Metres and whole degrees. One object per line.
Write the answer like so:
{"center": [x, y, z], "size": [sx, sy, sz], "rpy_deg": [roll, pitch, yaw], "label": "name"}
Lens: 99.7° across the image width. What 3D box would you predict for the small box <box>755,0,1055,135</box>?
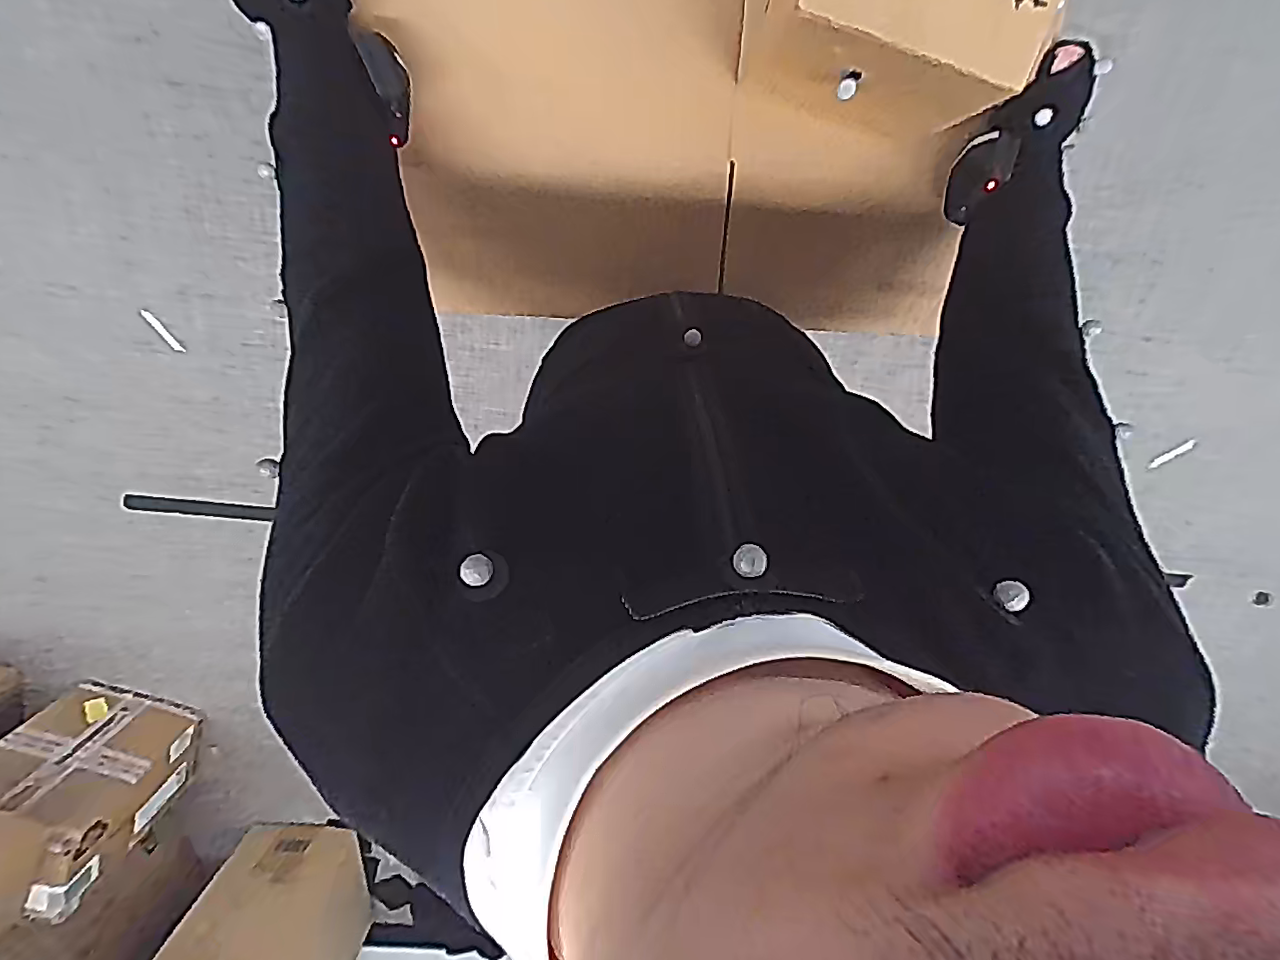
{"center": [0.207, -0.402, 0.426], "size": [0.179, 0.176, 0.168], "rpy_deg": [14, 109, -6], "label": "small box"}
